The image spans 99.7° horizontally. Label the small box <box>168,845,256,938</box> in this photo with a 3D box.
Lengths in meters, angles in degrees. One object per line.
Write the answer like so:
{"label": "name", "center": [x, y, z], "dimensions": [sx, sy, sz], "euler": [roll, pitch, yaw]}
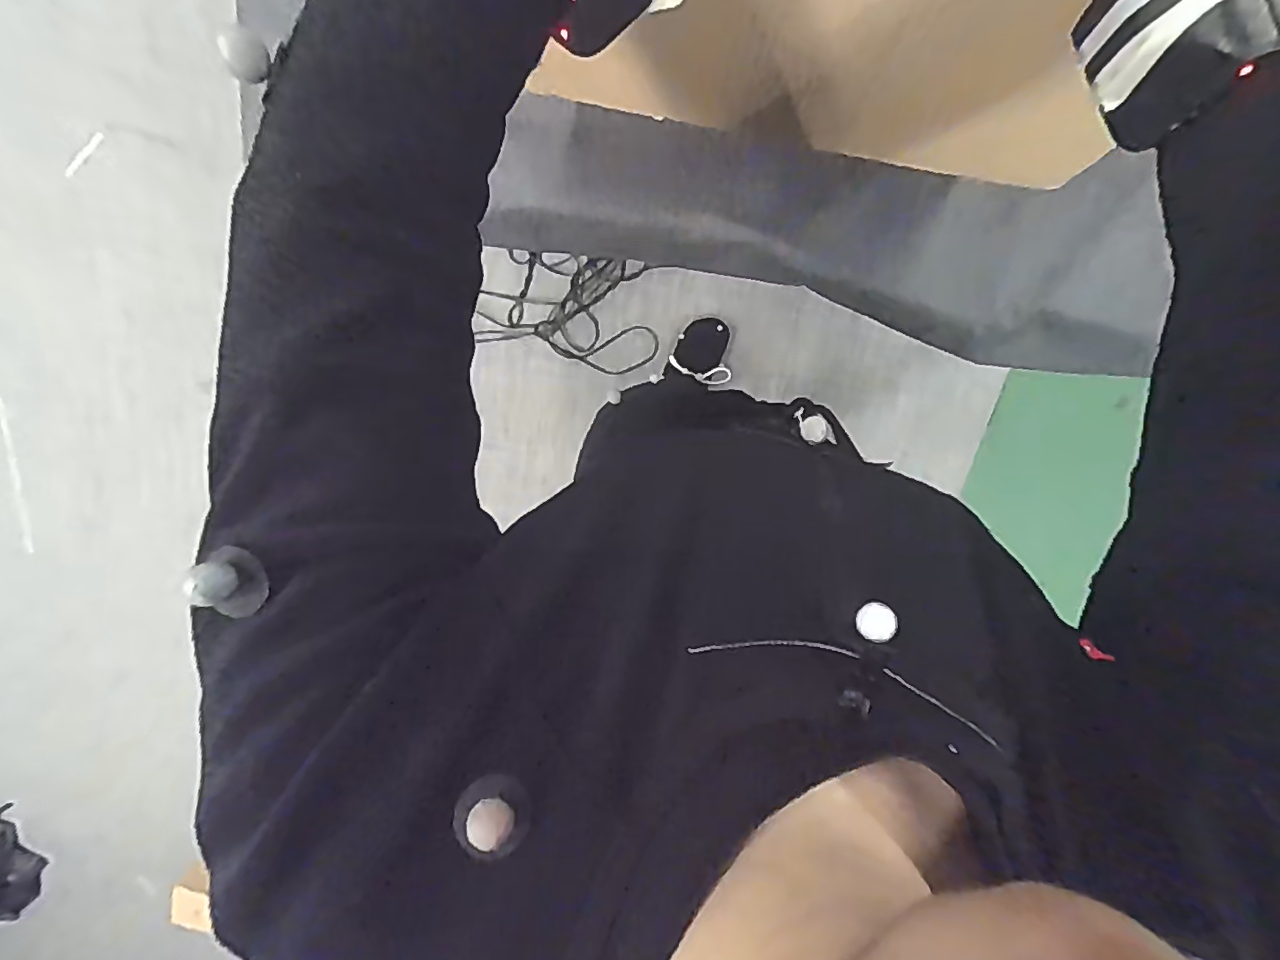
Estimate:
{"label": "small box", "center": [-1.439, 1.382, 1.826], "dimensions": [0.168, 0.176, 0.179], "euler": [18, 108, 0]}
